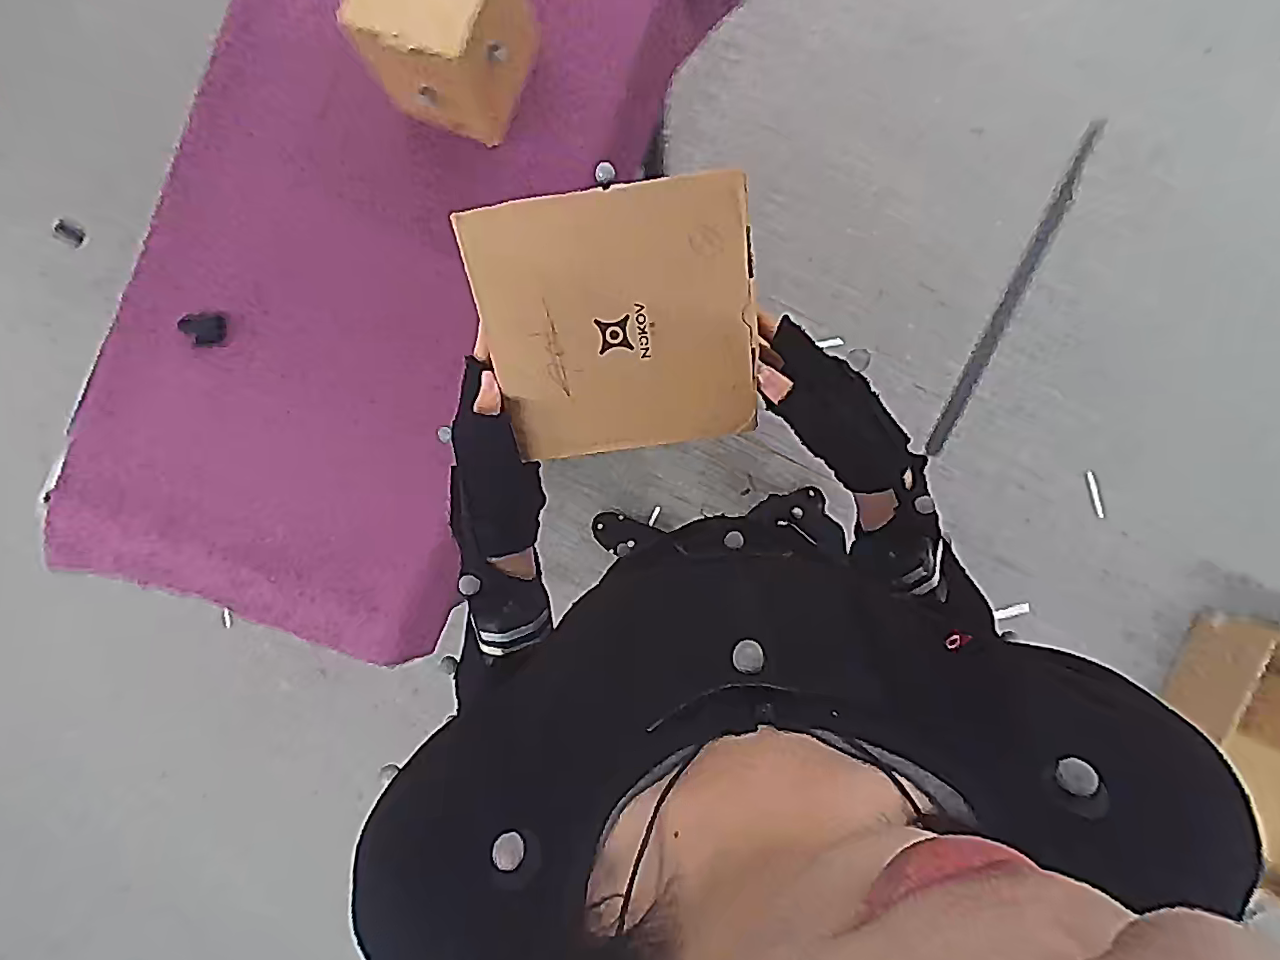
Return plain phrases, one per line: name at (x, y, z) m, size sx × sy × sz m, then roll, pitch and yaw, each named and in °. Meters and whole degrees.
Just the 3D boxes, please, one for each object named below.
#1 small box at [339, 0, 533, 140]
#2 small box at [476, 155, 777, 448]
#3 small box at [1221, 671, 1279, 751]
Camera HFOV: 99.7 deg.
small box at (-0.264, -0.615, 0.742) m, size 0.168 × 0.176 × 0.179 m, roll 21°, pitch 91°, yaw 3°
small box at (-0.001, -0.141, 0.414) m, size 0.179 × 0.176 × 0.168 m, roll -7°, pitch 117°, yaw 4°
small box at (1.615, 0.594, 1.322) m, size 0.179 × 0.176 × 0.168 m, roll 25°, pitch 91°, yaw 4°
